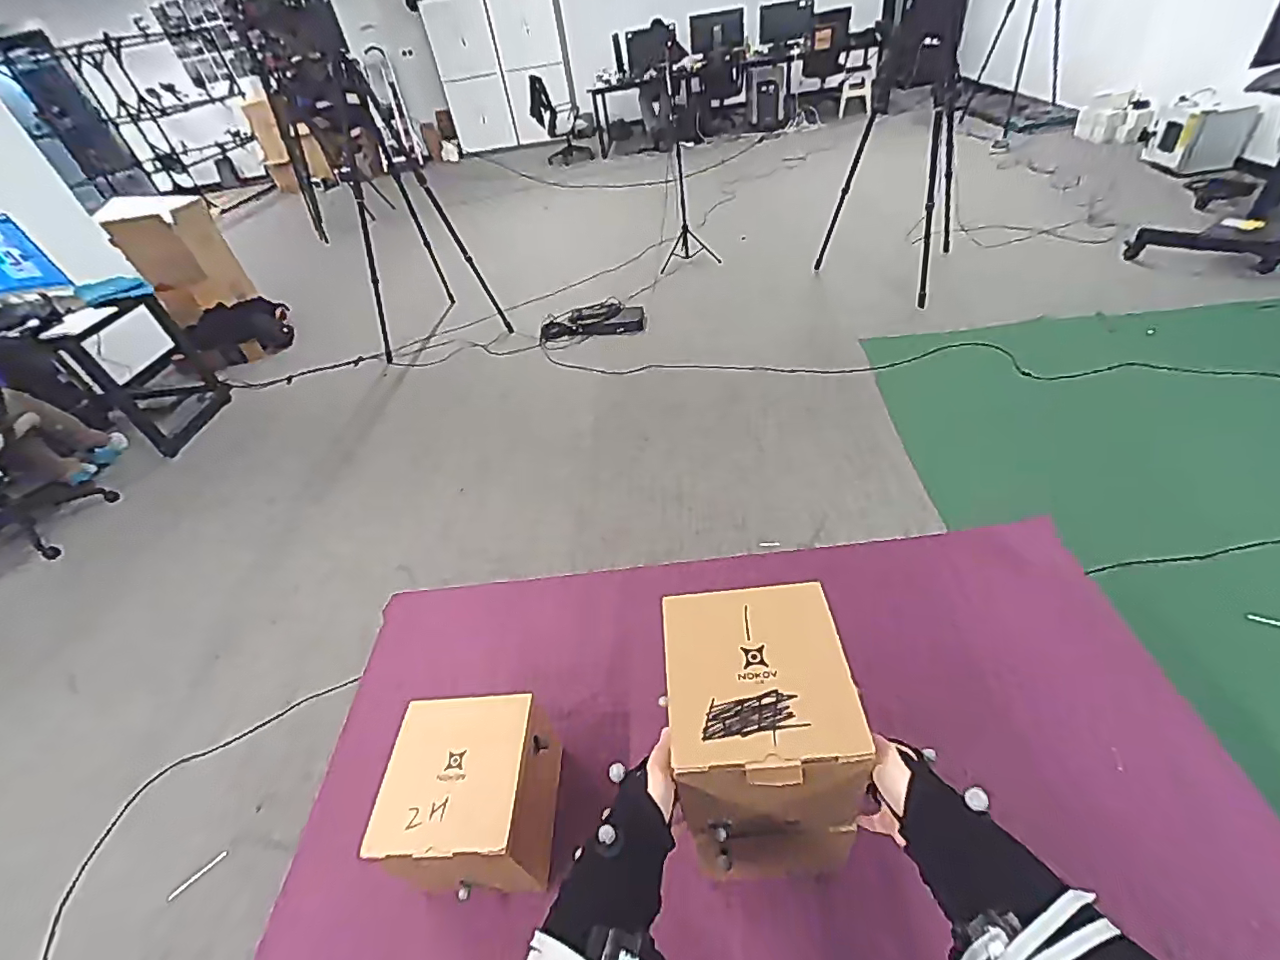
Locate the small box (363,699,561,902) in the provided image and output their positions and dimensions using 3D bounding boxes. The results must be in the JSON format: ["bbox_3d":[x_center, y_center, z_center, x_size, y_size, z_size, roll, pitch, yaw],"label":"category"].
[{"bbox_3d":[-0.203,0.402,0.680,0.168,0.176,0.179,-6,41,6],"label":"small box"}]

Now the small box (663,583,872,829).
[{"bbox_3d":[0.117,0.232,0.548,0.168,0.176,0.179,-7,40,5],"label":"small box"}]
